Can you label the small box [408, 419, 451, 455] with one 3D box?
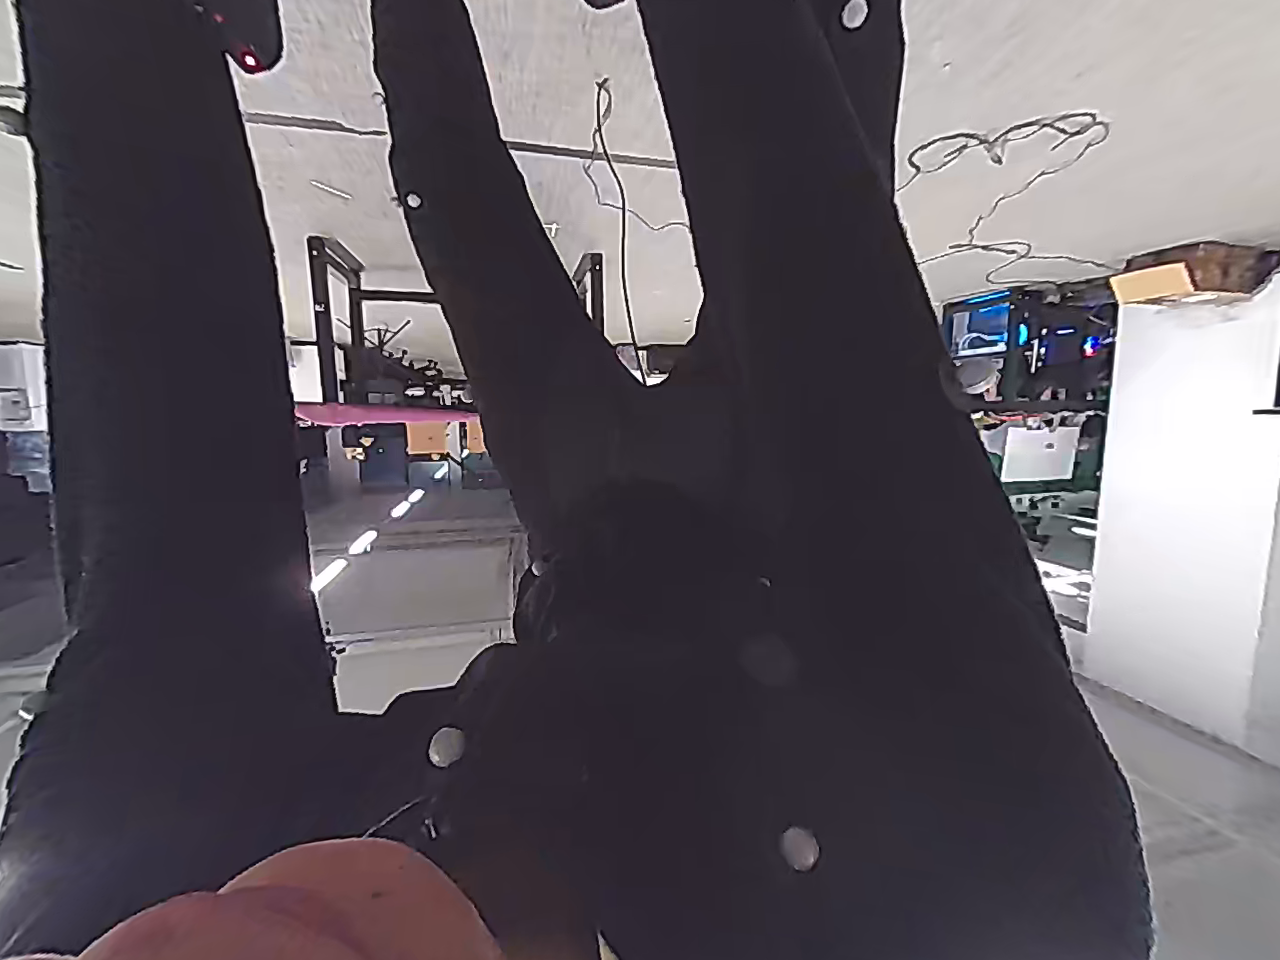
[{"bbox_3d":[-1.057,-0.219,2.719,0.179,0.176,0.168,-4,-175,-15],"label":"small box"}]
